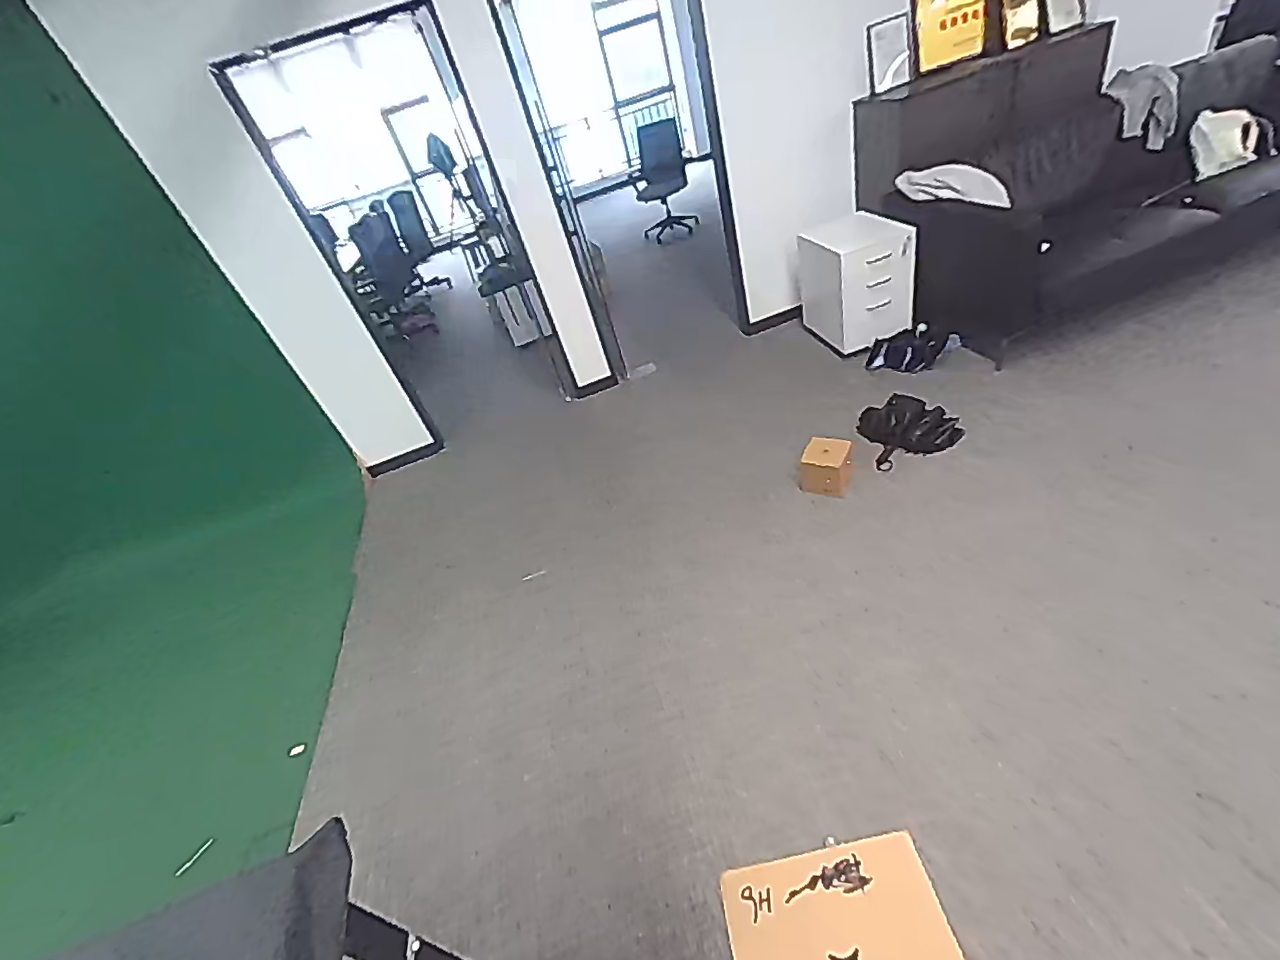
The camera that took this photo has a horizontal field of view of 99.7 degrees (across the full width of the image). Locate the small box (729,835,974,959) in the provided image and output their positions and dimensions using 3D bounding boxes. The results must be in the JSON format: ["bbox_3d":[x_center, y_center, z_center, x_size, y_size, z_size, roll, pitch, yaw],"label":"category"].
[{"bbox_3d":[0.184,0.425,0.433,0.168,0.176,0.179,-17,37,6],"label":"small box"}]
